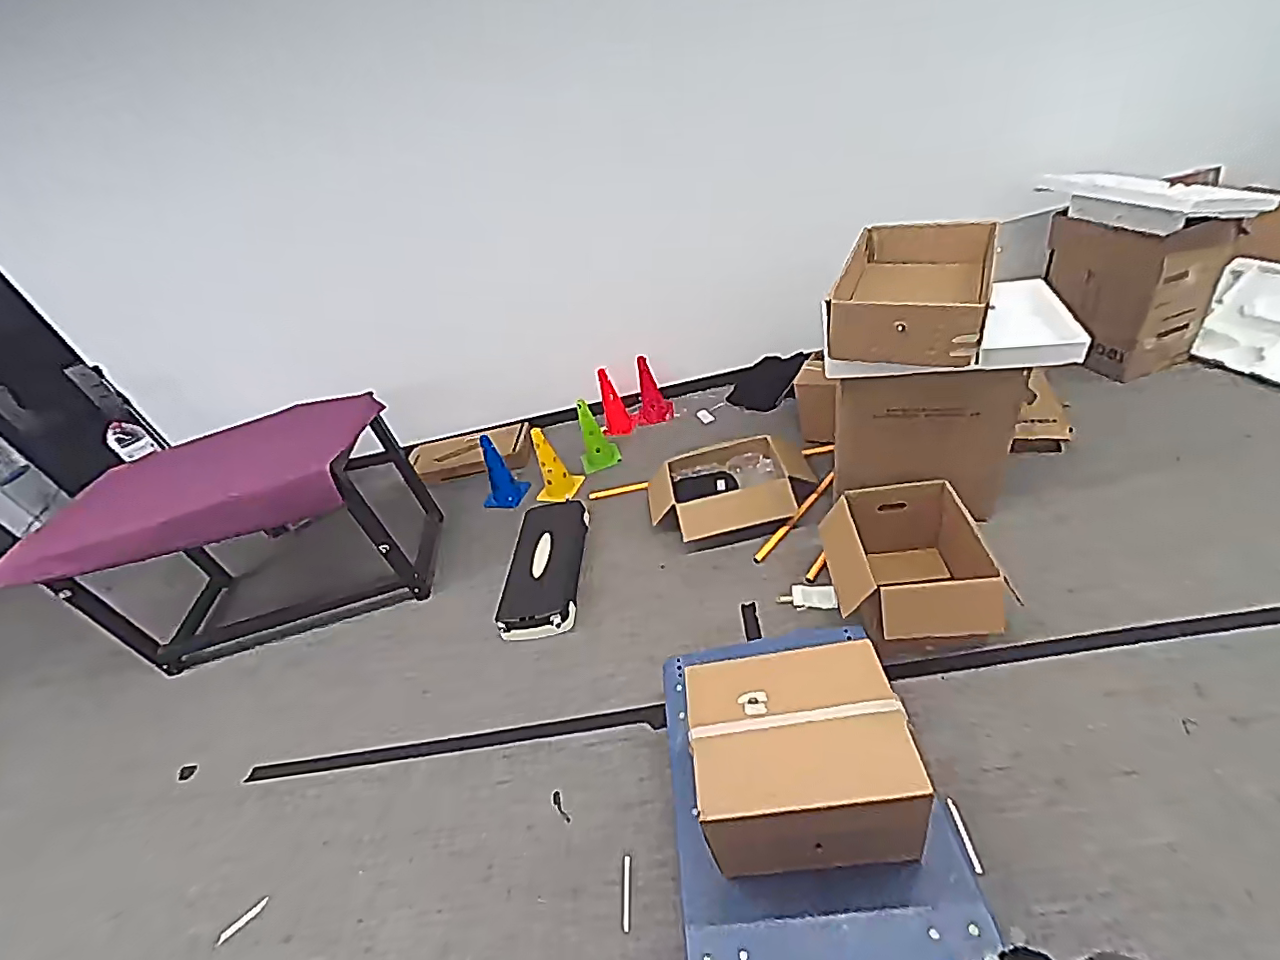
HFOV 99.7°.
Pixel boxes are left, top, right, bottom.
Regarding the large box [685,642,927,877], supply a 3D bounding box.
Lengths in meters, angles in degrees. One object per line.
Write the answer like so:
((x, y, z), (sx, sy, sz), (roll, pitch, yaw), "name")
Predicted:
((0.336, 0.598, 1.154), (0.408, 0.320, 0.320), (-13, 35, 8), "large box")
